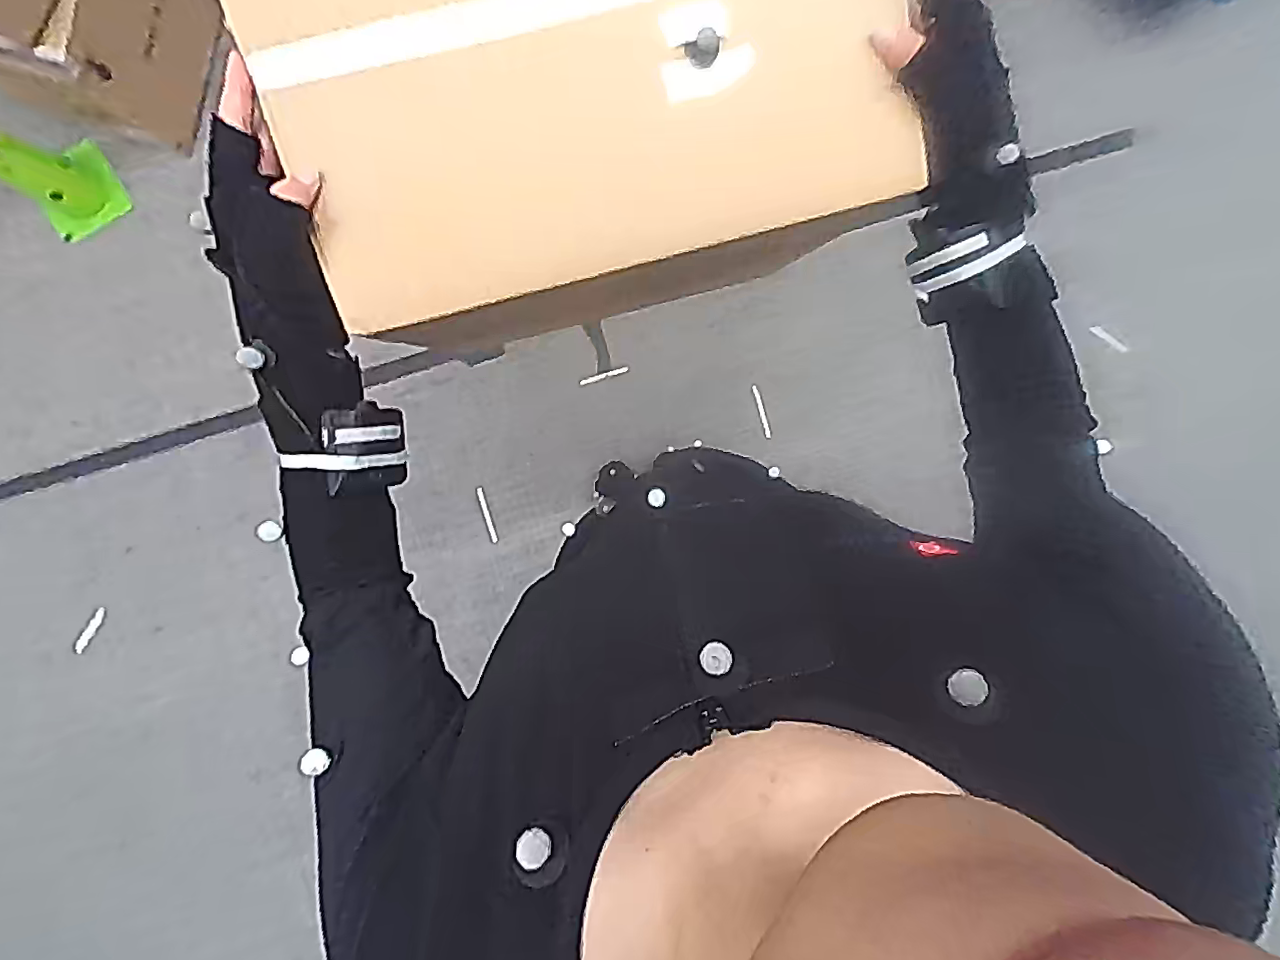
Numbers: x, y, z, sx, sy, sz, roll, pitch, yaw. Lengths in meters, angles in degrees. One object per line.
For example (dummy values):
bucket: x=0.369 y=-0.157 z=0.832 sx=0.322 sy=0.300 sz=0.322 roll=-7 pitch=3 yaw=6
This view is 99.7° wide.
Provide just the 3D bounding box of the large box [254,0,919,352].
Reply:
large box: x=-0.047 y=-0.325 z=0.487 sx=0.408 sy=0.320 sz=0.320 roll=-16 pitch=102 yaw=-3
